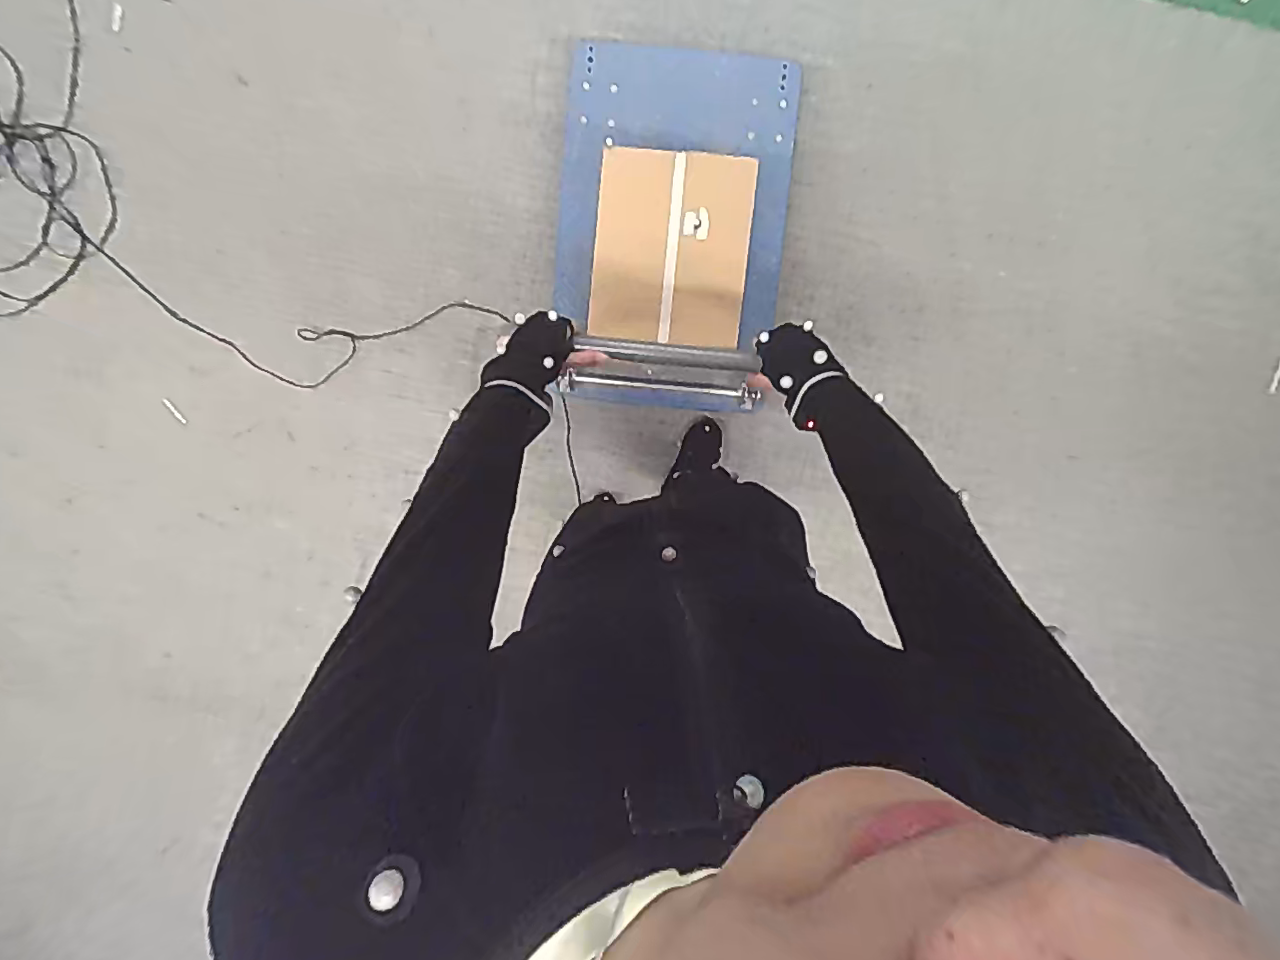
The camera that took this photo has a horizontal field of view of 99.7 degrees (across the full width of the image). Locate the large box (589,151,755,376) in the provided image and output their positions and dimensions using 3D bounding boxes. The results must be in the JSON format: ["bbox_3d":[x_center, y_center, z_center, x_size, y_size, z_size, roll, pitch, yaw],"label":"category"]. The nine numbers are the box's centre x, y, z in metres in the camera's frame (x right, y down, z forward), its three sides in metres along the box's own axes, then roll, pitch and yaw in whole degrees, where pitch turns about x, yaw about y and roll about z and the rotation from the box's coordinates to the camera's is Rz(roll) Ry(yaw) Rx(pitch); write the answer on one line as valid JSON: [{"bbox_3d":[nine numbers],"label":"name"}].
[{"bbox_3d":[0.069,-0.463,1.244,0.320,0.320,0.408,5,95,1],"label":"large box"}]
